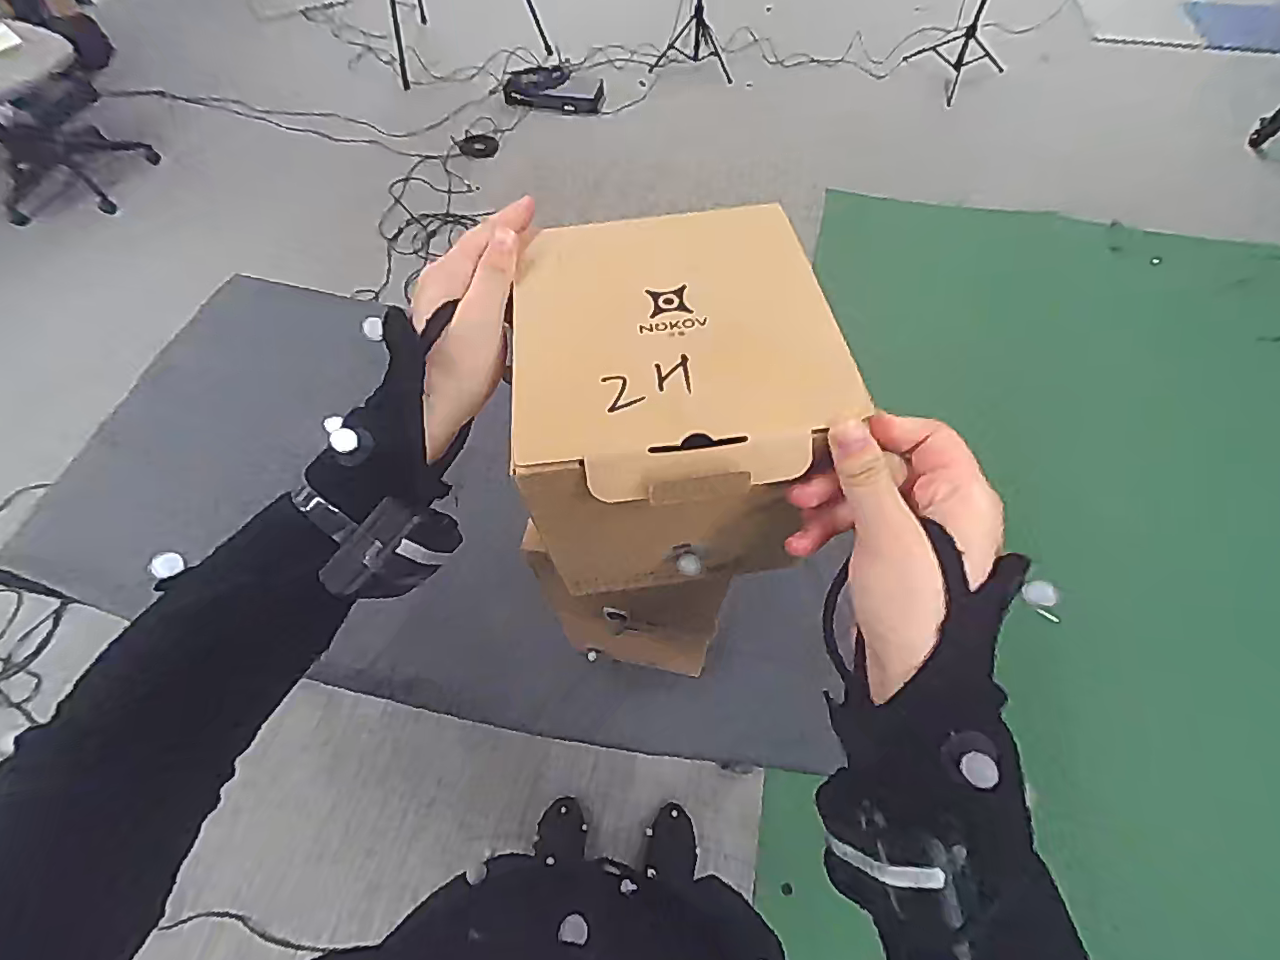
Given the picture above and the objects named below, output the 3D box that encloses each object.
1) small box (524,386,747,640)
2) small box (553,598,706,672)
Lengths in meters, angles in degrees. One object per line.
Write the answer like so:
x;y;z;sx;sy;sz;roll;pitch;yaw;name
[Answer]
0.005;0.036;0.518;0.168;0.176;0.179;6;59;7;small box
0.009;0.118;0.658;0.168;0.176;0.179;10;58;8;small box
